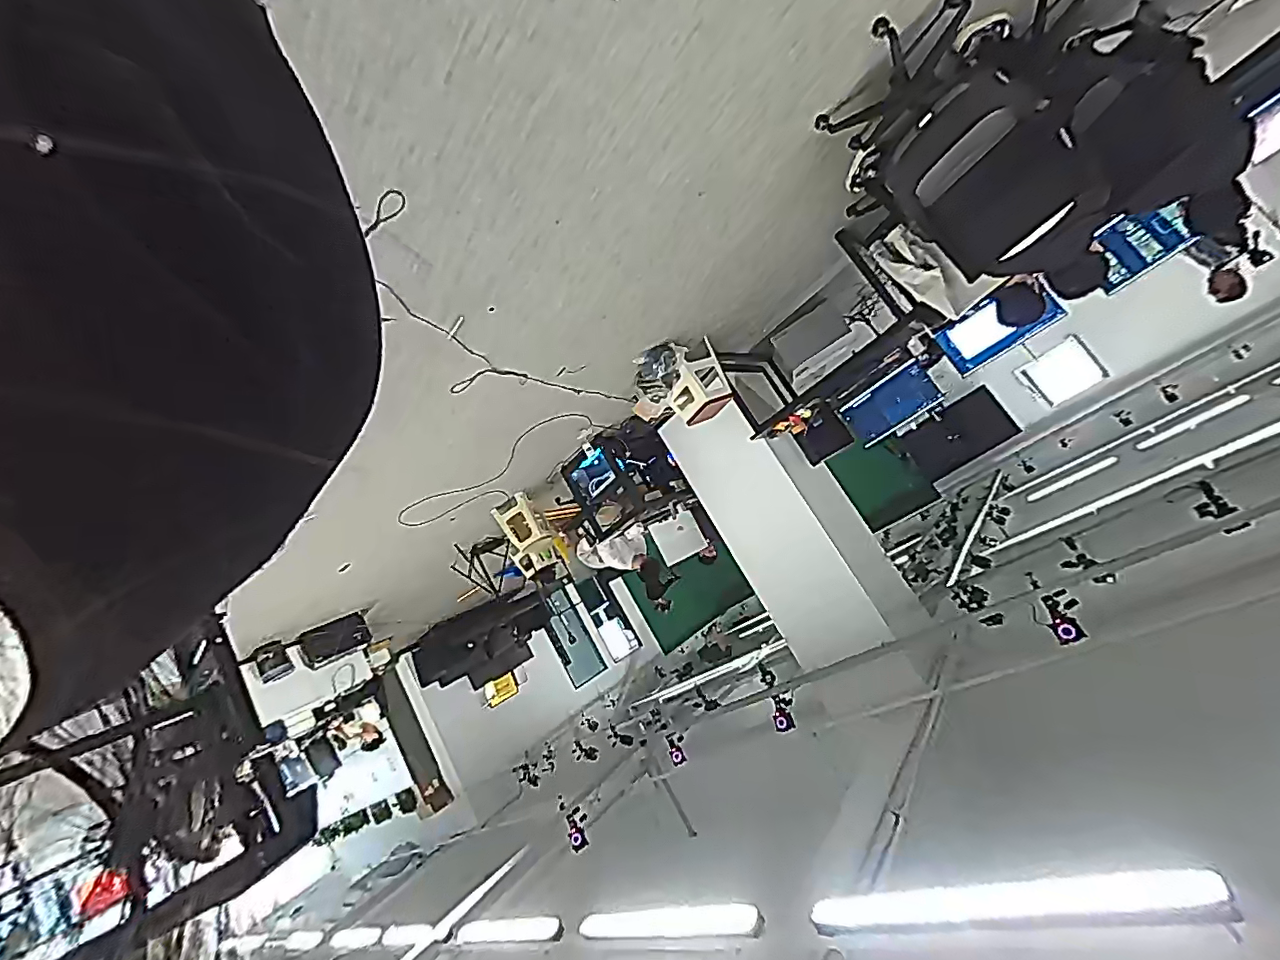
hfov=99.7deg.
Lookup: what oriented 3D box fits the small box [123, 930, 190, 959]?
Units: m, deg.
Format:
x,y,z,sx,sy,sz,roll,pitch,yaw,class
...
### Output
x,y,z,sx,sy,sz,roll,pitch,yaw,class
-1.249,1.279,1.357,0.179,0.176,0.168,-37,167,33,small box
